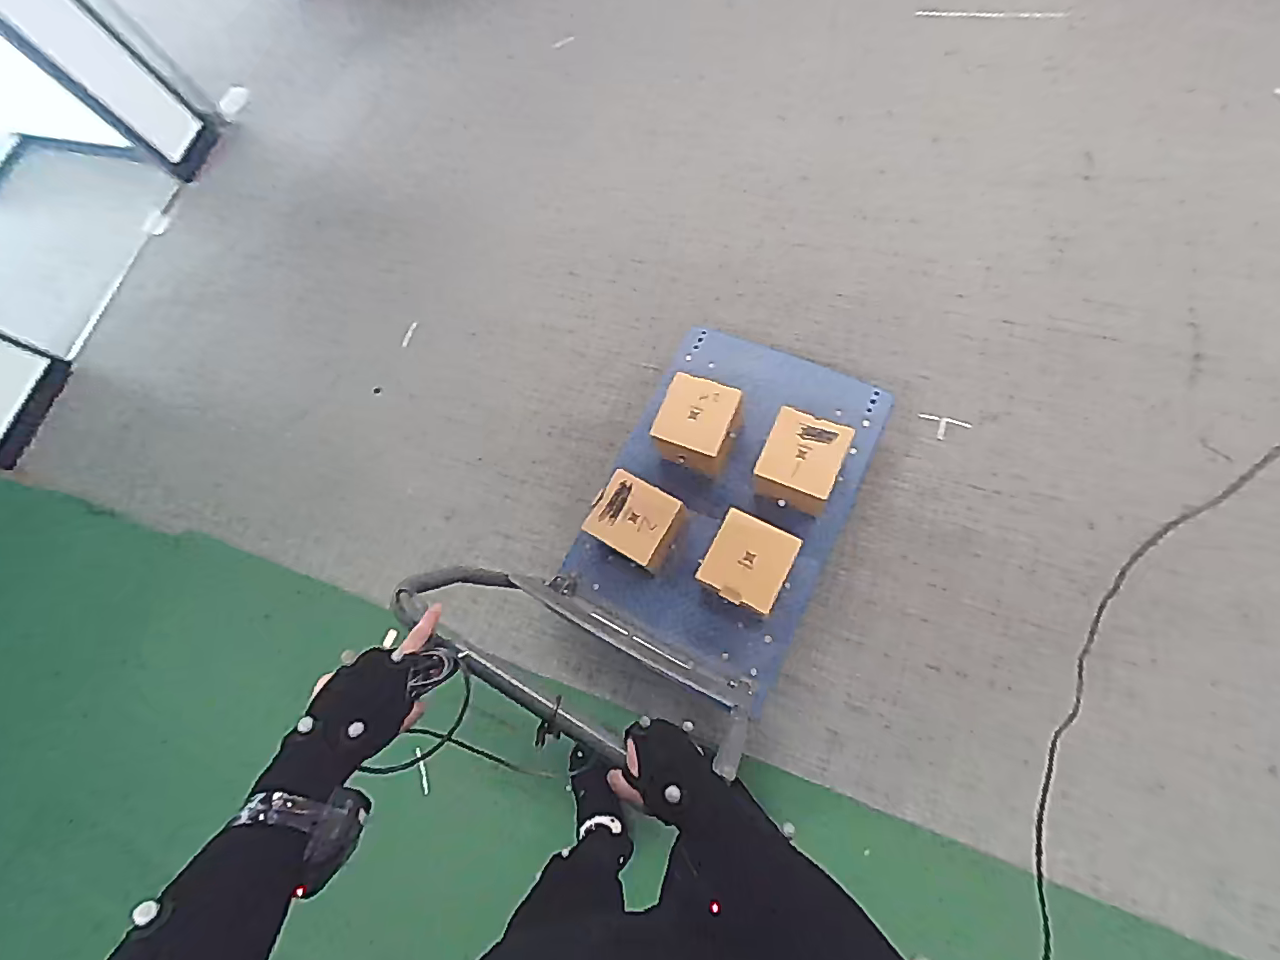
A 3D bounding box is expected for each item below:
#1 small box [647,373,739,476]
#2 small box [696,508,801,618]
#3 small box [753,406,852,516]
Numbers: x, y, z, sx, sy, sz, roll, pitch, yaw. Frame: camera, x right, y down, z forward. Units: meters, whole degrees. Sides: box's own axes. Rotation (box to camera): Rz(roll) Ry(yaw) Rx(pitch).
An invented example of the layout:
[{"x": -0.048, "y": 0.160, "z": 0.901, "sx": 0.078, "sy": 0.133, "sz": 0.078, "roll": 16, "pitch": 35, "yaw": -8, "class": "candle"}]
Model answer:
[{"x": 0.138, "y": -0.129, "z": 1.322, "sx": 0.168, "sy": 0.176, "sz": 0.179, "roll": 21, "pitch": 78, "yaw": 16, "class": "small box"}, {"x": 0.239, "y": 0.190, "z": 1.204, "sx": 0.168, "sy": 0.176, "sz": 0.179, "roll": 25, "pitch": 80, "yaw": 18, "class": "small box"}, {"x": 0.367, "y": -0.038, "z": 1.247, "sx": 0.168, "sy": 0.176, "sz": 0.179, "roll": 22, "pitch": 79, "yaw": 18, "class": "small box"}]
